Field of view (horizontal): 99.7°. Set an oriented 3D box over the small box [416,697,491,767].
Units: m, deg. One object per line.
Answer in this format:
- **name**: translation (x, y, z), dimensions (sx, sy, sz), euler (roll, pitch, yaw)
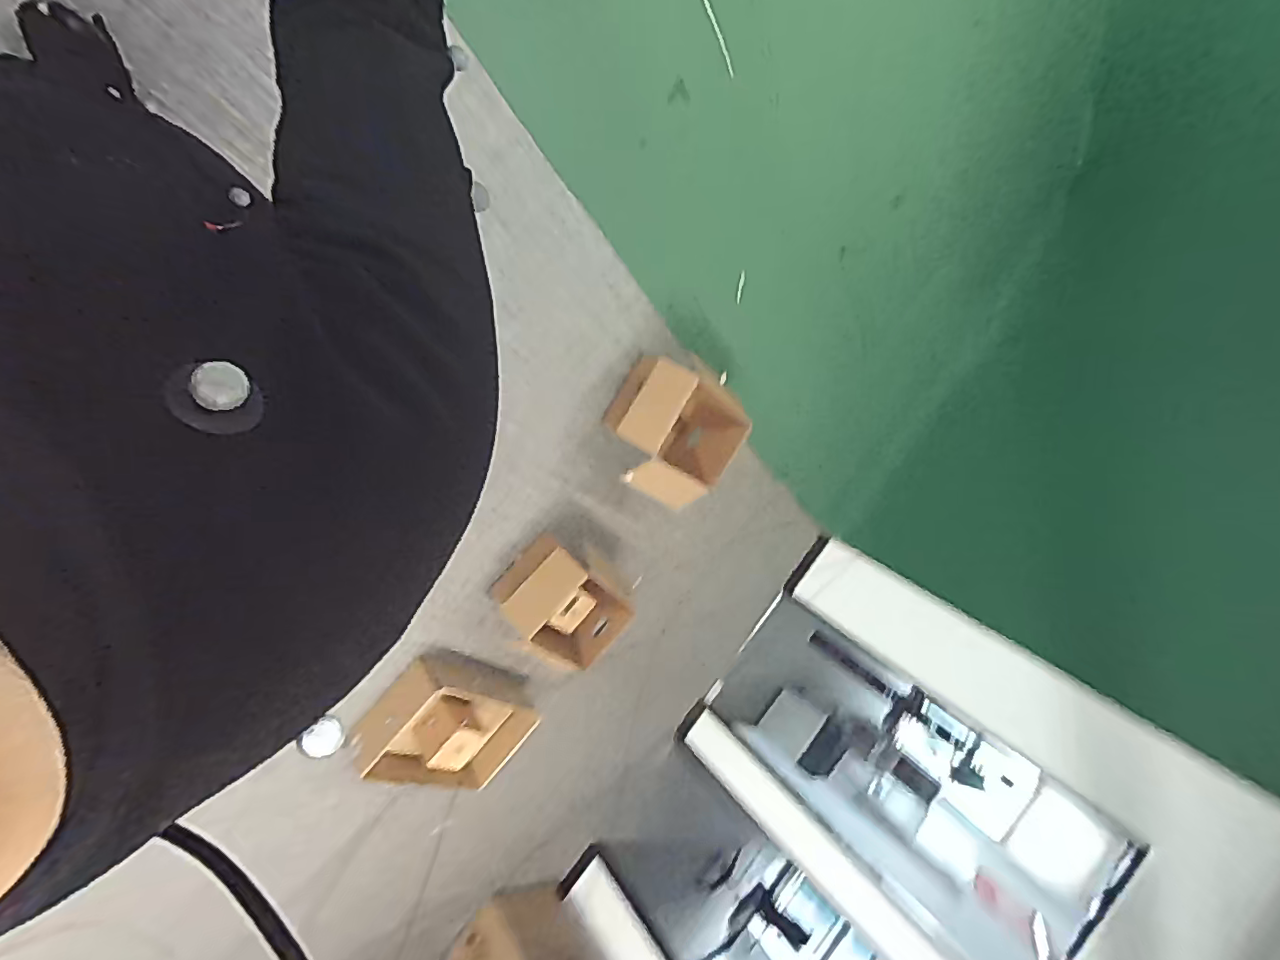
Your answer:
- **small box**: translation (-0.704, 0.946, 2.036), dimensions (0.168, 0.176, 0.179), euler (-49, 139, -5)
